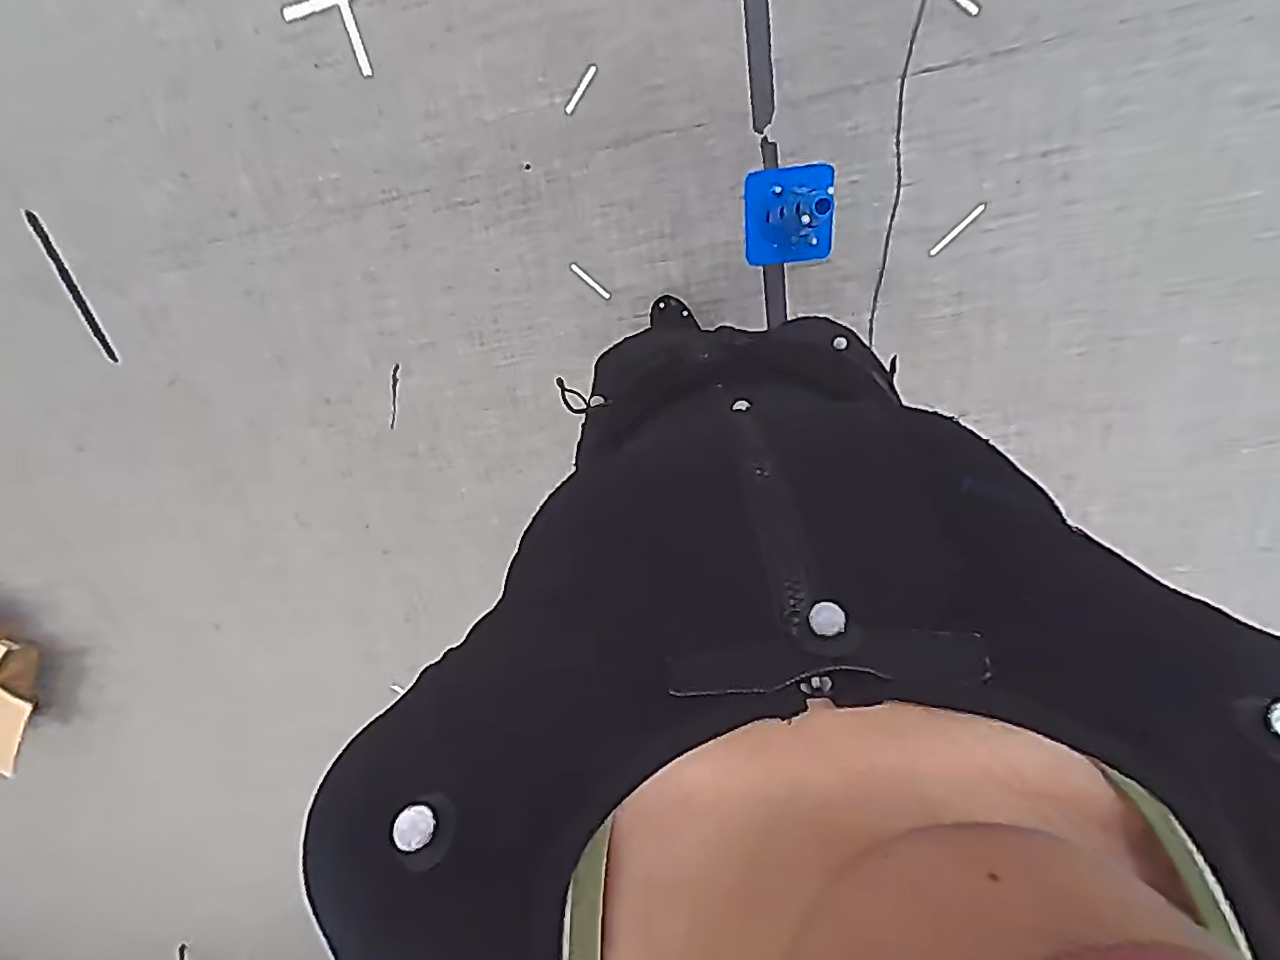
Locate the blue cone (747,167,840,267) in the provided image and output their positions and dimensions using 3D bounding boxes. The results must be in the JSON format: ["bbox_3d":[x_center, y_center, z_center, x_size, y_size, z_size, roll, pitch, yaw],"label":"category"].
[{"bbox_3d":[0.331,-0.533,1.081,0.193,0.380,0.192,-5,112,6],"label":"blue cone"}]
